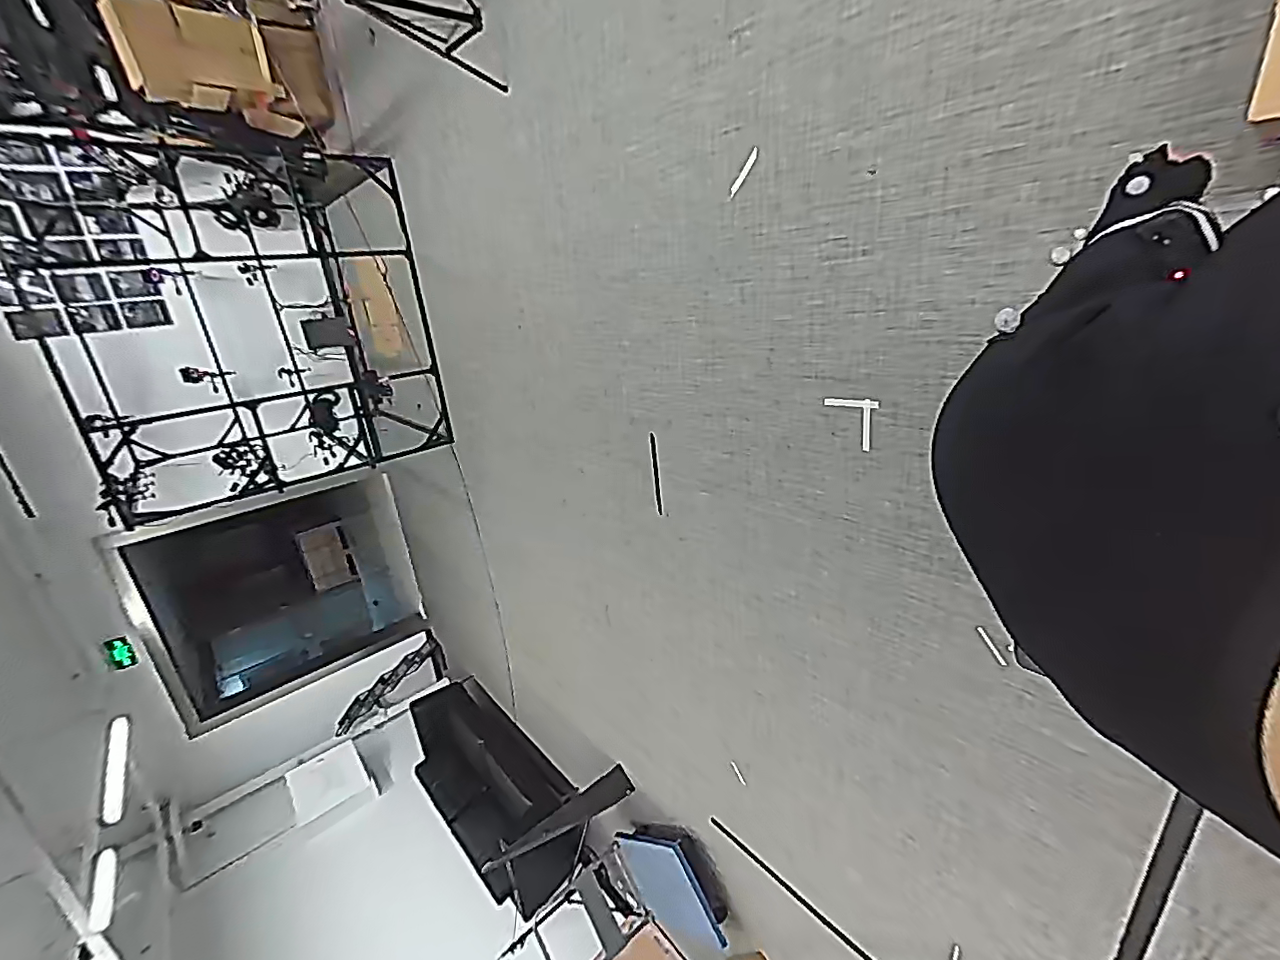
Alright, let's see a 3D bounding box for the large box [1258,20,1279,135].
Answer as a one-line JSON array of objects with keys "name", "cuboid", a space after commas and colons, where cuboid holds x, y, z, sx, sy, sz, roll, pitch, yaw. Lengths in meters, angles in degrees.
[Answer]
[{"name": "large box", "cuboid": [1.063, -0.639, 0.631, 0.408, 0.320, 0.320, 18, 121, 46]}]
